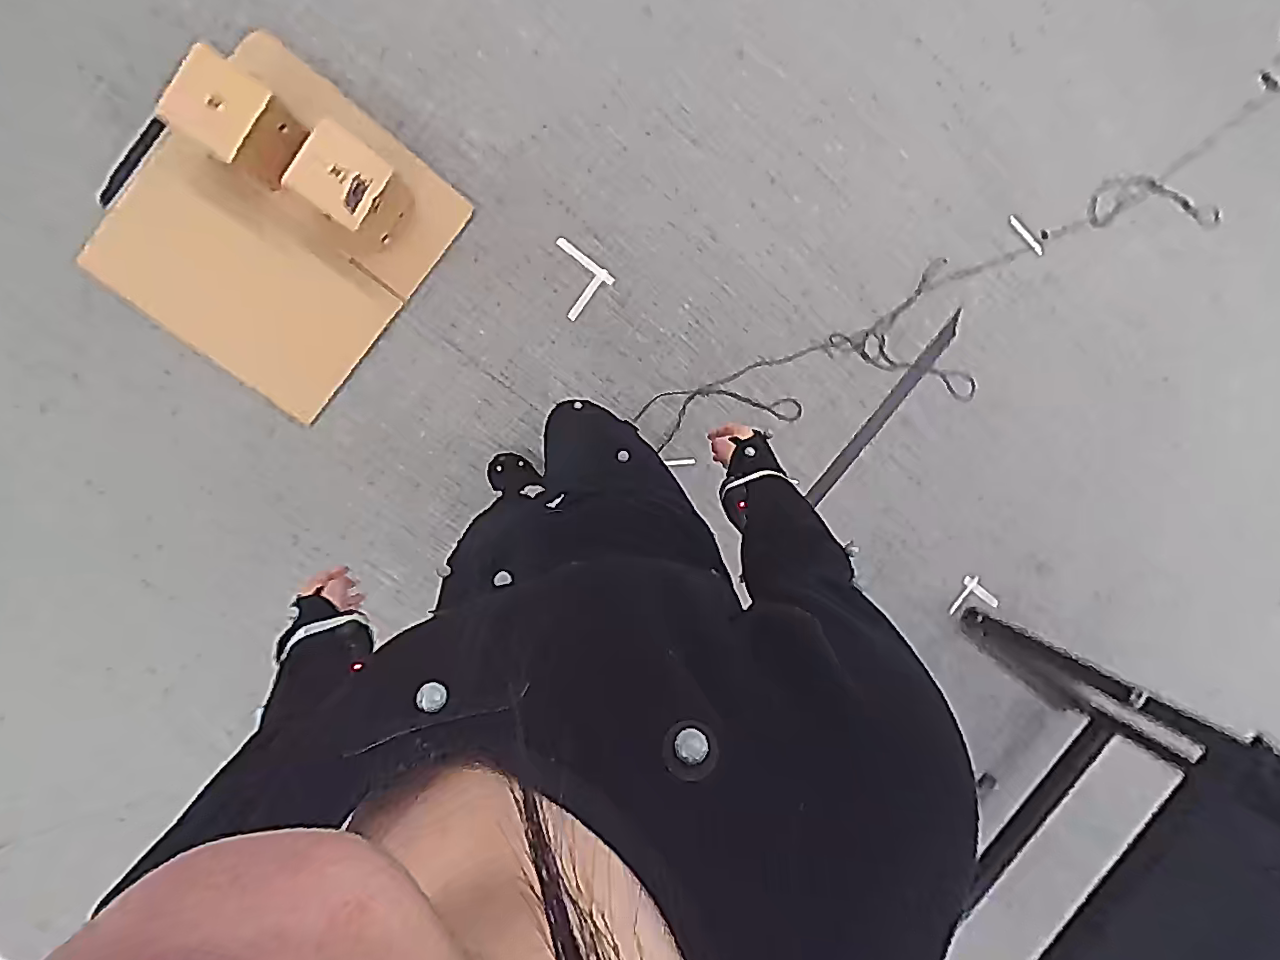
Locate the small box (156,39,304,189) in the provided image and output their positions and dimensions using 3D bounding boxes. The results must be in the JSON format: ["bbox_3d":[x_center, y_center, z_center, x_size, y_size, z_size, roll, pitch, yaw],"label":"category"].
[{"bbox_3d":[-0.874,-0.782,1.177,0.168,0.176,0.179,32,93,-10],"label":"small box"}]

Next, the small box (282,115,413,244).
[{"bbox_3d":[-0.648,-0.662,1.223,0.179,0.176,0.168,34,92,-11],"label":"small box"}]
